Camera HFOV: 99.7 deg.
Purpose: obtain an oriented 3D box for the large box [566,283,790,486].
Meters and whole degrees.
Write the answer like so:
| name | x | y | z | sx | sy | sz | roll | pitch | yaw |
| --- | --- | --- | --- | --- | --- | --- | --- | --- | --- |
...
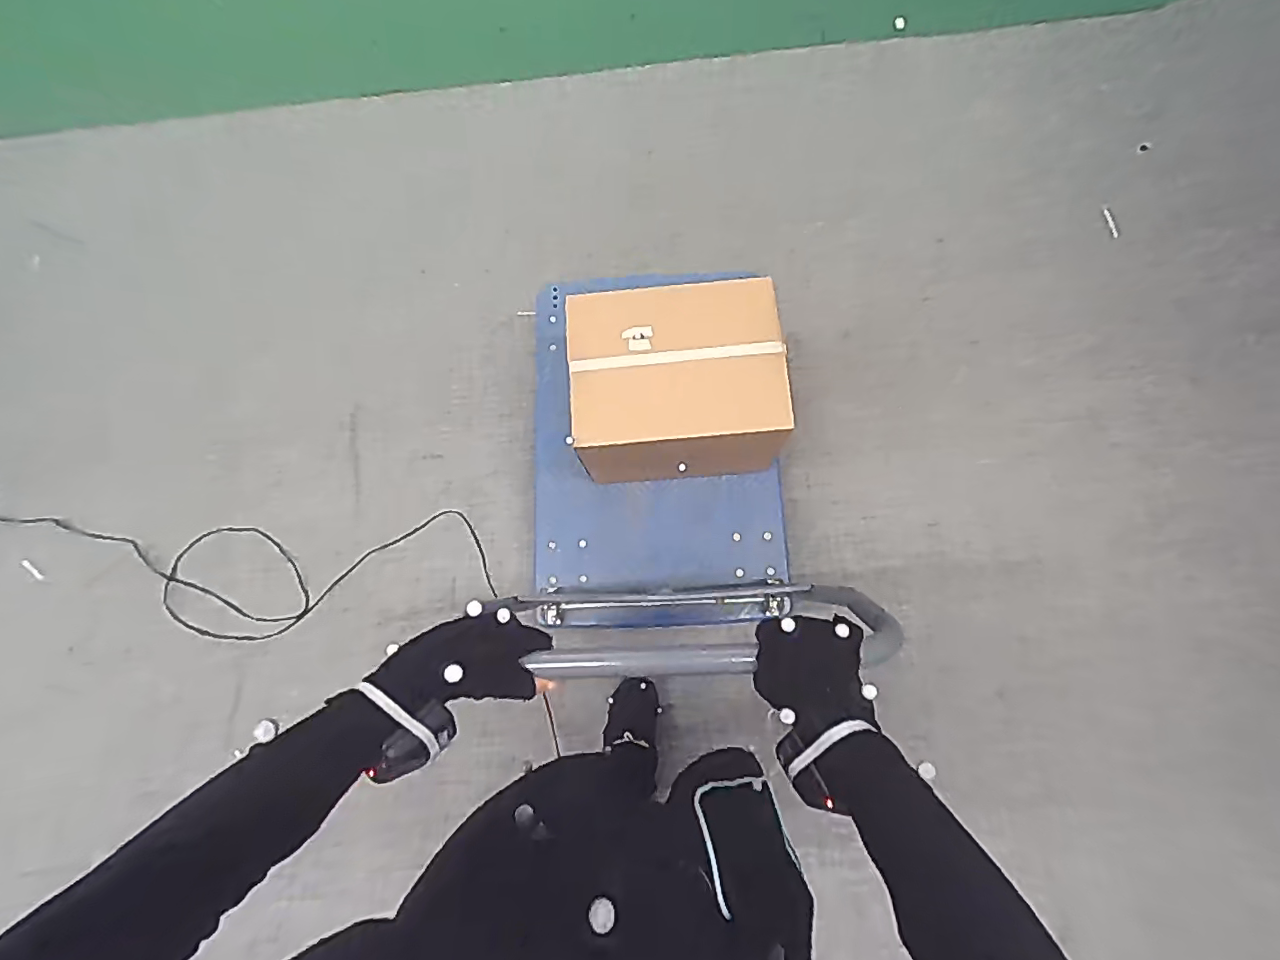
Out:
| name | x | y | z | sx | sy | sz | roll | pitch | yaw |
| --- | --- | --- | --- | --- | --- | --- | --- | --- | --- |
| large box | 0.075 | -0.184 | 1.174 | 0.408 | 0.320 | 0.320 | -6 | 76 | 3 |
